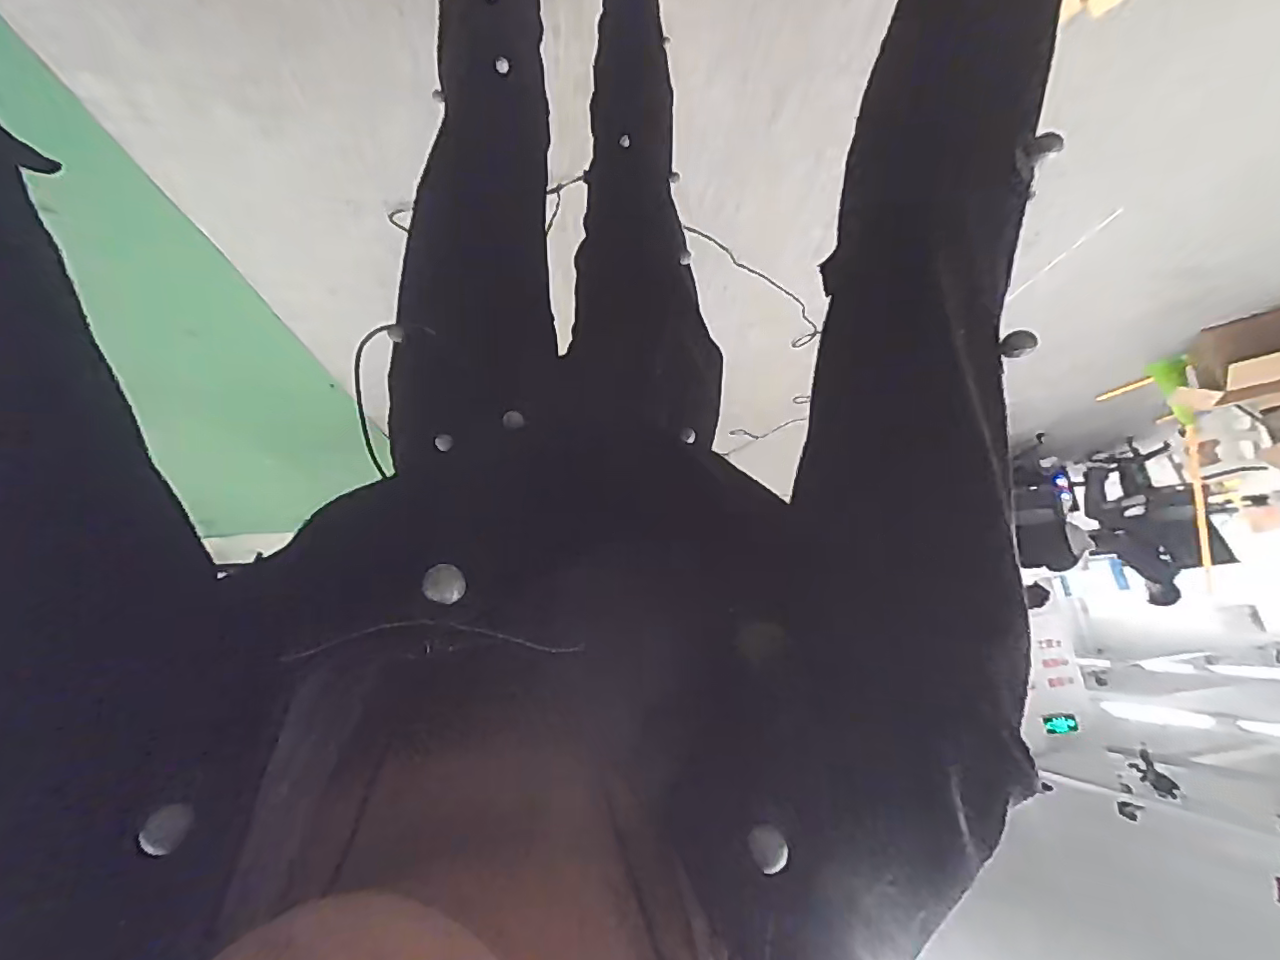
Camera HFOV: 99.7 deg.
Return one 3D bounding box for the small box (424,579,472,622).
[{"bbox_3d":[-0.825,0.523,2.335,0.168,0.176,0.179,-6,166,-7],"label":"small box"}]
